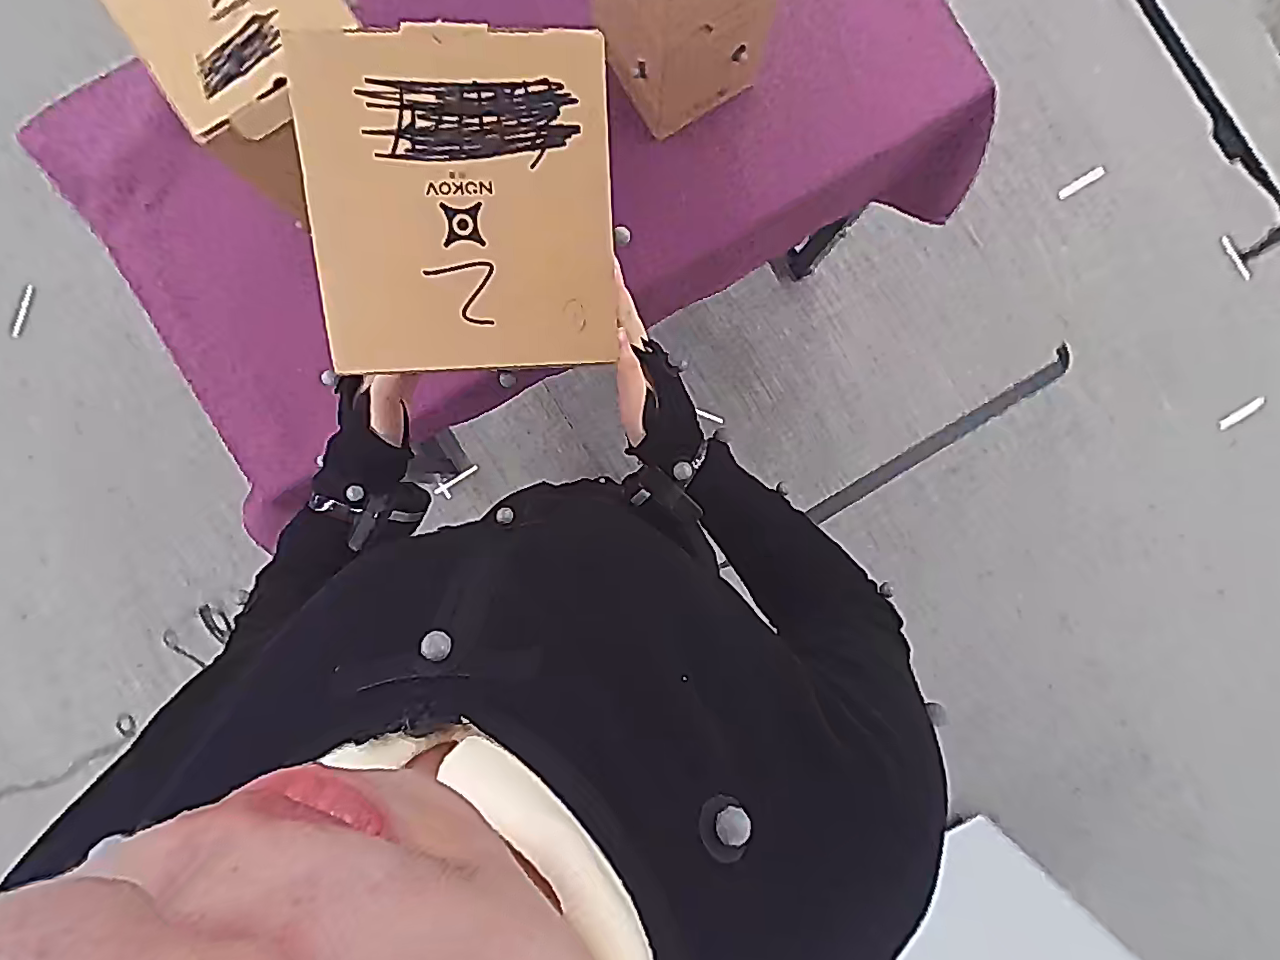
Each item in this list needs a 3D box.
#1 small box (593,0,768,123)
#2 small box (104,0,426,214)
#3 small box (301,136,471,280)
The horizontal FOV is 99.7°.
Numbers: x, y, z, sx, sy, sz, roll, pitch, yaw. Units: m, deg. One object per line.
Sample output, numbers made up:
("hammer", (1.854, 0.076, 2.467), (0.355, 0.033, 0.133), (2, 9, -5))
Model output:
("small box", (0.050, -0.606, 0.695), (0.168, 0.176, 0.179), (-32, 90, -2))
("small box", (-0.342, -0.393, 0.523), (0.168, 0.176, 0.179), (-34, 90, -2))
("small box", (-0.345, -0.392, 0.687), (0.168, 0.176, 0.179), (-33, 91, -1))
